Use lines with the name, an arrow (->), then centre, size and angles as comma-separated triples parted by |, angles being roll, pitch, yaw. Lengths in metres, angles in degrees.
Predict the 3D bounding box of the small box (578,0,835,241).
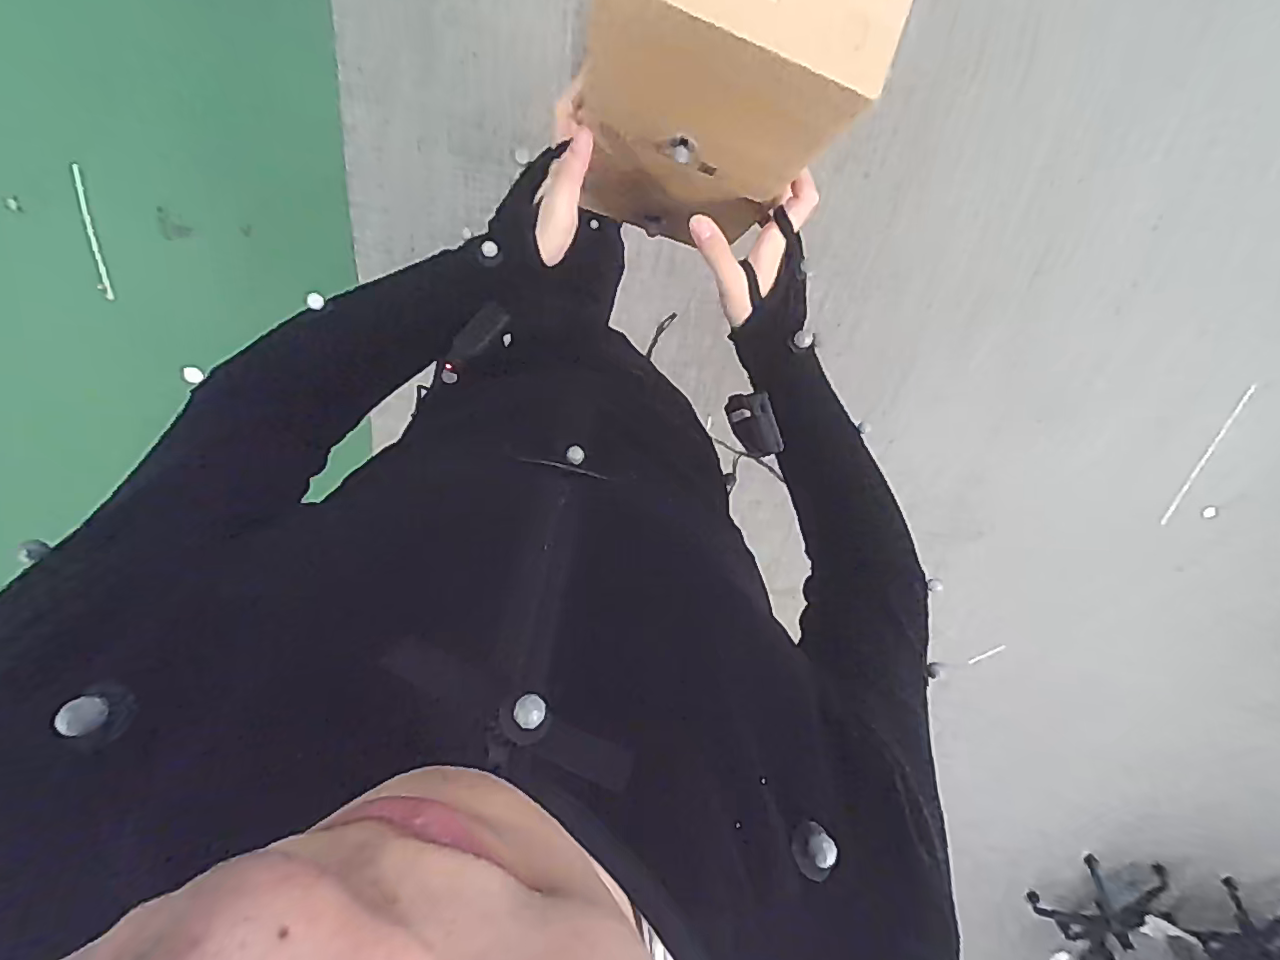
small box -> 0.047, -0.352, 0.519 | 0.179, 0.176, 0.168 | 15, 95, -11
